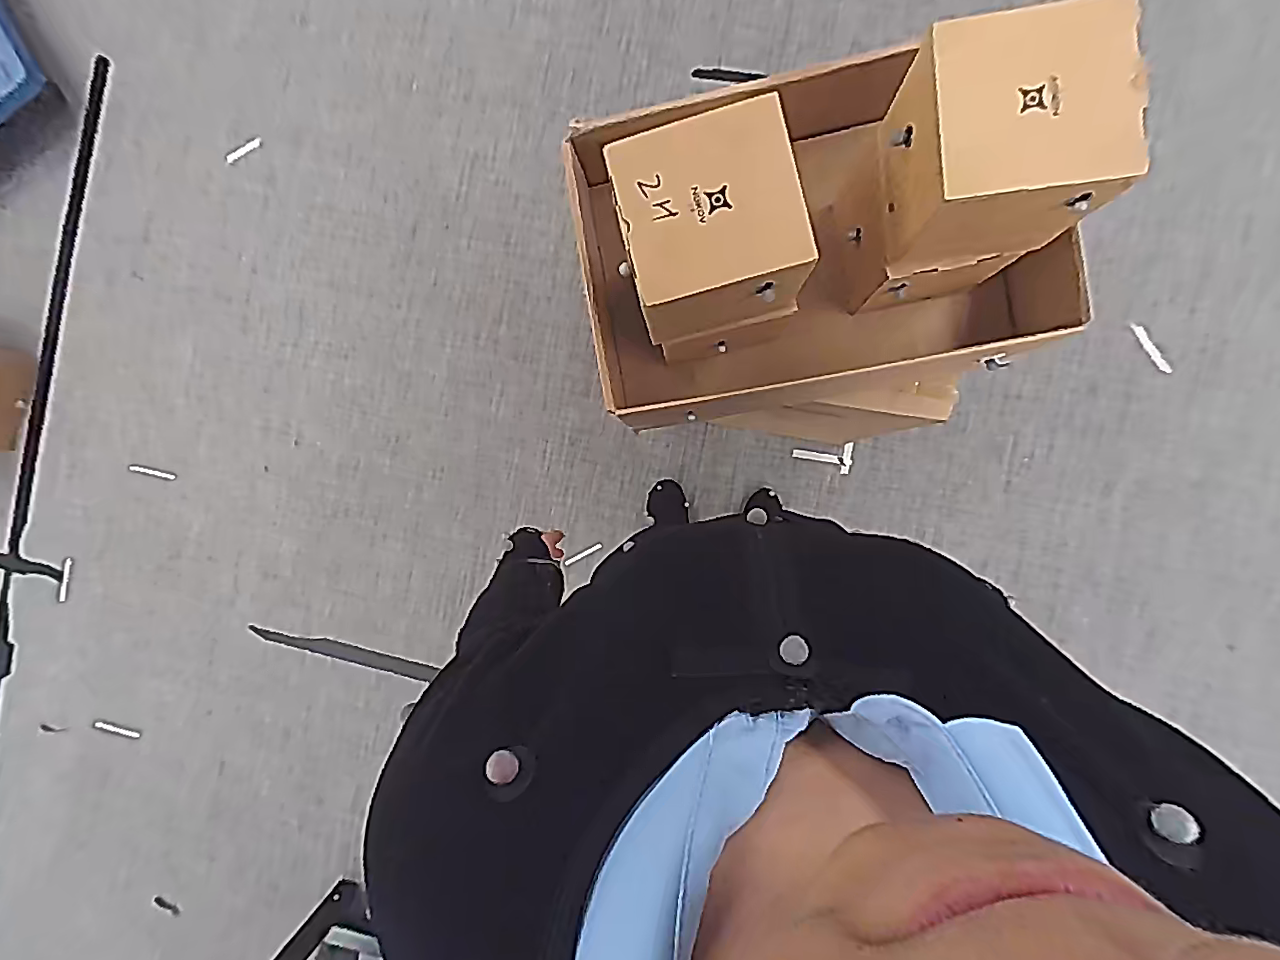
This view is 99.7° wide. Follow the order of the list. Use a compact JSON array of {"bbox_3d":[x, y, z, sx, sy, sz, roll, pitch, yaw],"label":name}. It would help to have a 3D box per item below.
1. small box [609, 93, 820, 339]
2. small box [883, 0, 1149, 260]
[{"bbox_3d":[0.077,-0.272,0.599,0.179,0.176,0.168,-14,90,6],"label":"small box"},{"bbox_3d":[0.369,-0.349,0.569,0.179,0.176,0.168,-5,91,6],"label":"small box"}]
